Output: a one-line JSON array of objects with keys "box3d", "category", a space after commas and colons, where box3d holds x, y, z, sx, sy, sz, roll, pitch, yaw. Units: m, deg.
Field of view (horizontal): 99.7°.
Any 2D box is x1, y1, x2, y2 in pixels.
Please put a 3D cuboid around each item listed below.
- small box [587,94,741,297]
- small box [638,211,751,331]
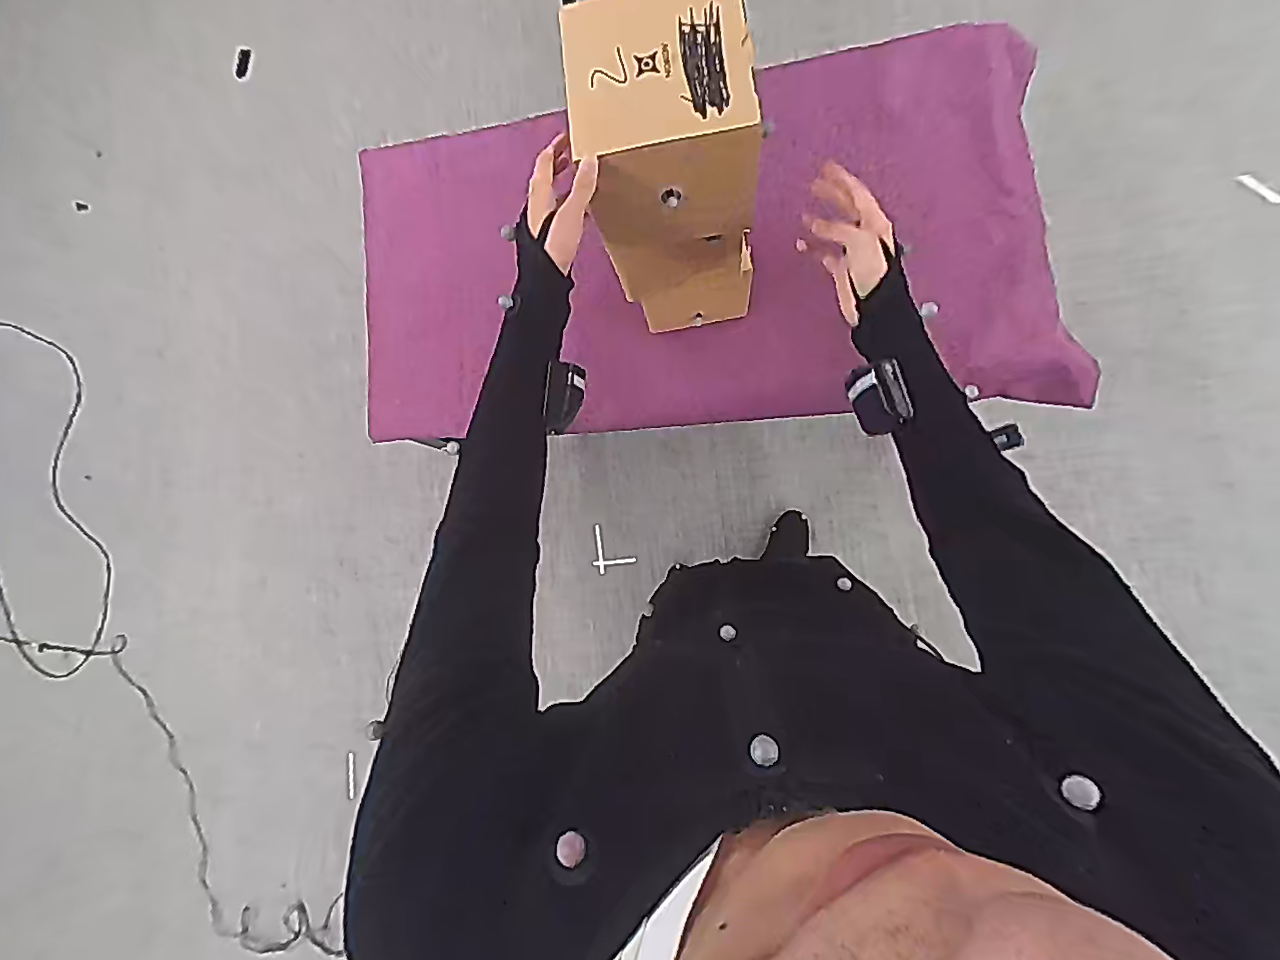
[{"box3d": [0.039, -0.371, 0.739, 0.179, 0.176, 0.168, -9, 82, 7], "category": "small box"}, {"box3d": [0.079, -0.366, 0.899, 0.179, 0.176, 0.168, -9, 82, 6], "category": "small box"}]
